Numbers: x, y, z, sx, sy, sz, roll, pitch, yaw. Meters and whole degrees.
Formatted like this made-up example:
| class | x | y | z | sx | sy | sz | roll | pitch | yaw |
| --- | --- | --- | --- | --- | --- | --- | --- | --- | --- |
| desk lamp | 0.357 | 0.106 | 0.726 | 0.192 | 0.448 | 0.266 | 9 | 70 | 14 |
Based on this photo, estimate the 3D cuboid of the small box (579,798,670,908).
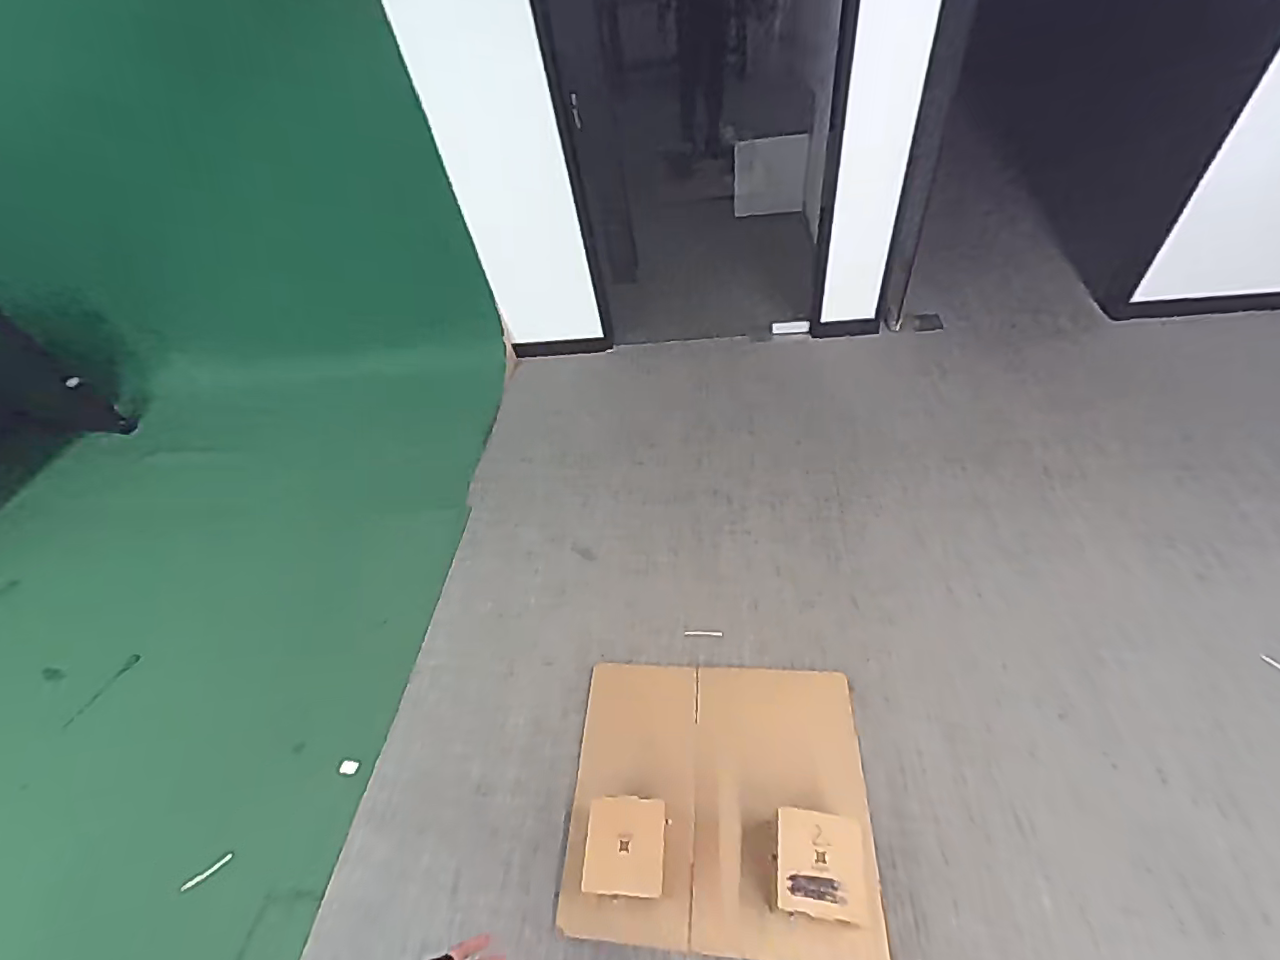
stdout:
| class | x | y | z | sx | sy | sz | roll | pitch | yaw |
| --- | --- | --- | --- | --- | --- | --- | --- | --- | --- |
| small box | -0.025 | 0.814 | 1.177 | 0.168 | 0.176 | 0.179 | -2 | 48 | 8 |
